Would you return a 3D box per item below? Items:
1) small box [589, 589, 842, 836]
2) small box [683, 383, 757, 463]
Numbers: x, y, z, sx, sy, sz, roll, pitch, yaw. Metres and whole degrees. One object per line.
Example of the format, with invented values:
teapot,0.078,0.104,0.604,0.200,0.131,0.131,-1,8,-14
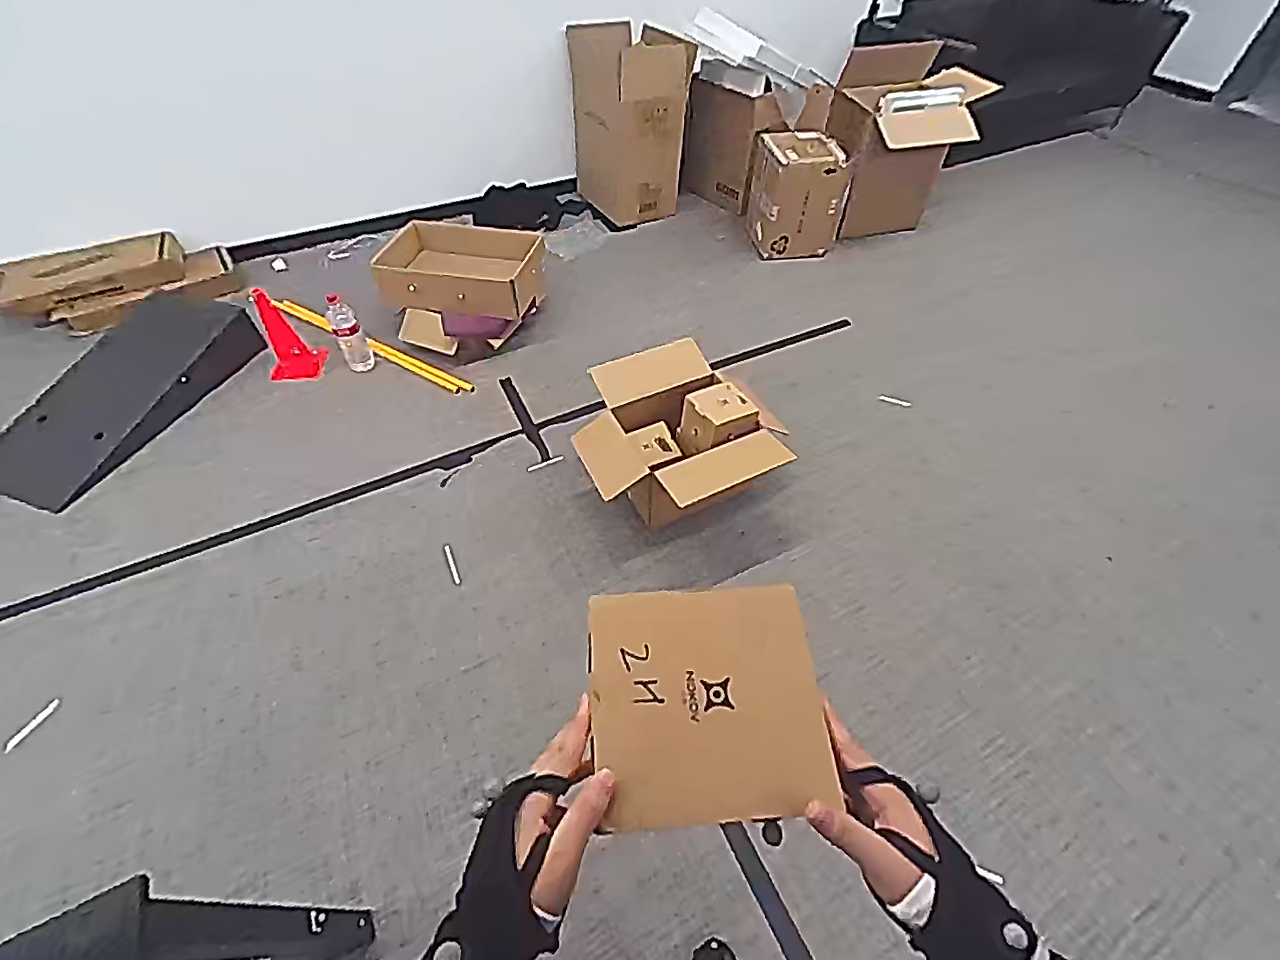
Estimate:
small box,0.046,0.205,0.476,0.179,0.176,0.168,-3,58,-4
small box,0.250,-0.180,1.749,0.179,0.176,0.168,-21,52,-21
